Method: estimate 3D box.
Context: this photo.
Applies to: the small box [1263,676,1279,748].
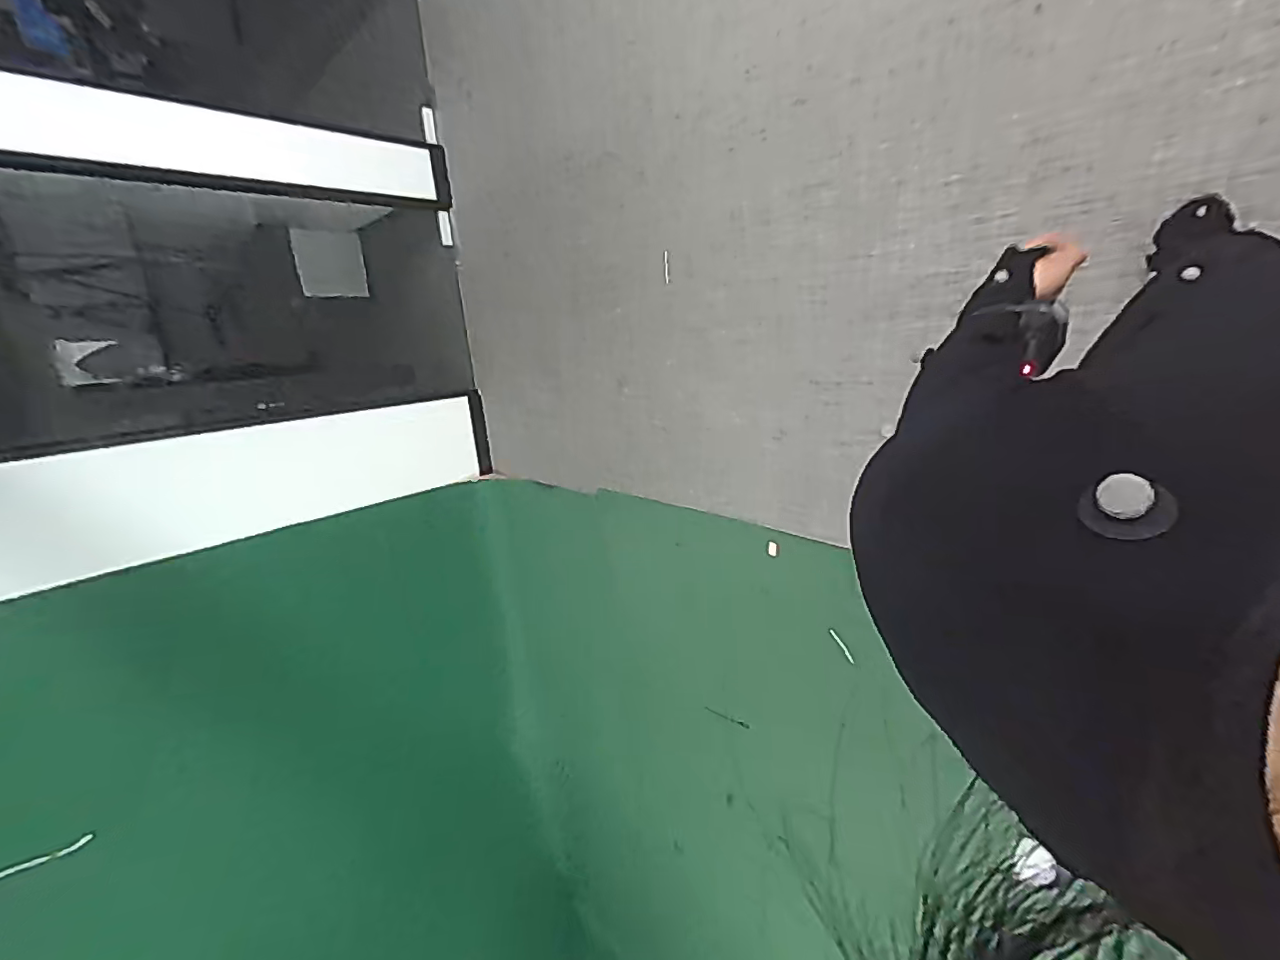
[{"bbox_3d":[1.071,0.393,0.803,0.168,0.176,0.179,13,113,44],"label":"small box"}]
